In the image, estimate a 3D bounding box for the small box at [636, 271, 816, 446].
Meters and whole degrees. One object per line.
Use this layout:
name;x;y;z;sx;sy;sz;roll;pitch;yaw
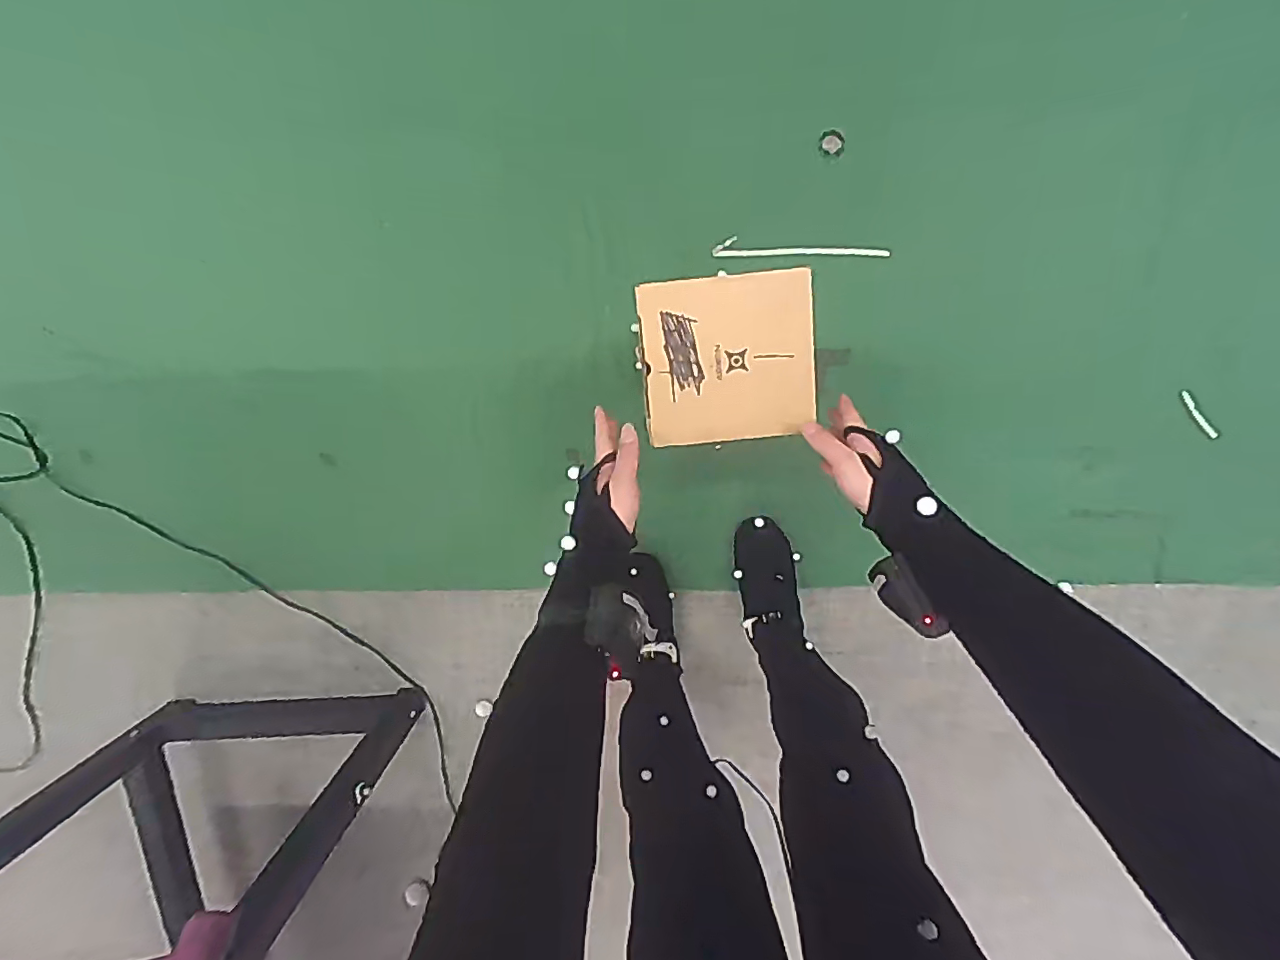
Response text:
small box;0.093;-0.136;0.628;0.179;0.176;0.168;-5;102;3
